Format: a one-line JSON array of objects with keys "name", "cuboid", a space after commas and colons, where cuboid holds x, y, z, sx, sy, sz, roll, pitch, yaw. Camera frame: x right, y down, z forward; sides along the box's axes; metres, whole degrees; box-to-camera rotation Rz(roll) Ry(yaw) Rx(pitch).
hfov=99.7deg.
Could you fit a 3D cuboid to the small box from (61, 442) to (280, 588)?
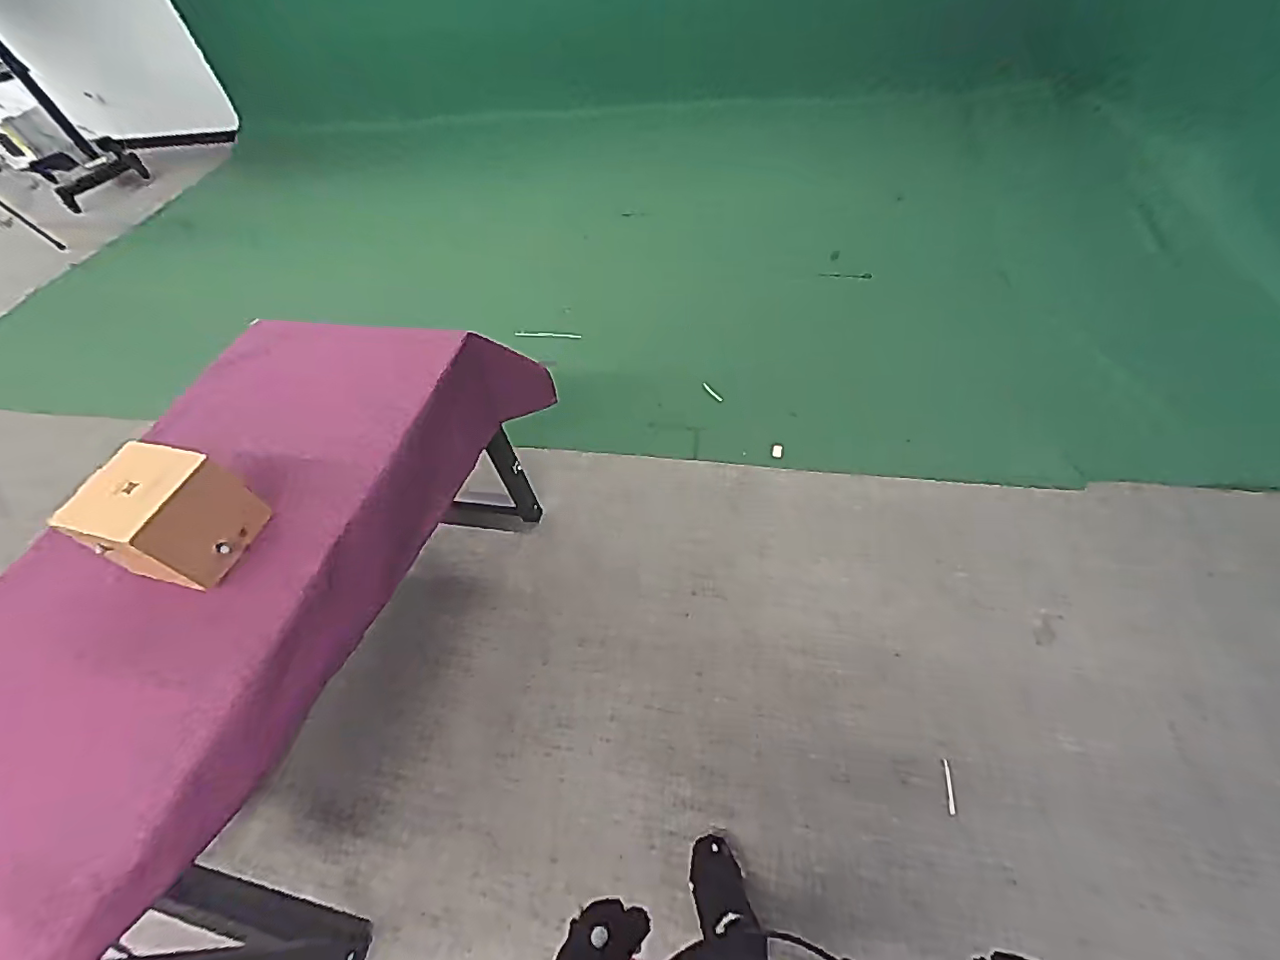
[{"name": "small box", "cuboid": [-0.765, 0.061, 0.903, 0.179, 0.176, 0.168, 10, 55, 15]}]
